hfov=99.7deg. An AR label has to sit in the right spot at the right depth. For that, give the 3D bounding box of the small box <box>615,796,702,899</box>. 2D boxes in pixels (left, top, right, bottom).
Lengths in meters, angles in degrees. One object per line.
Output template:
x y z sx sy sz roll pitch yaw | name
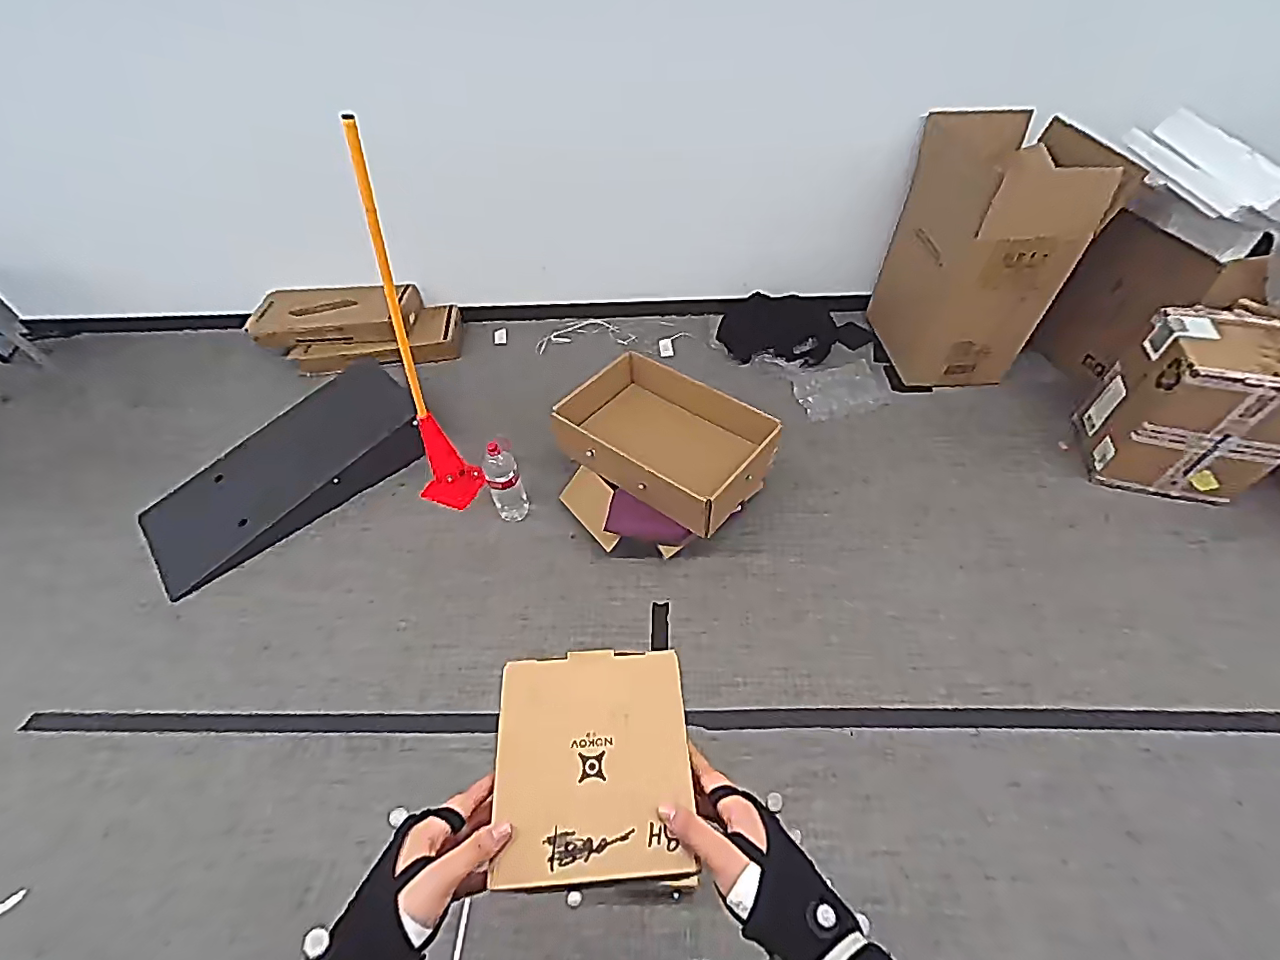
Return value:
0.042 0.803 1.180 0.179 0.176 0.168 -2 48 4 | small box
